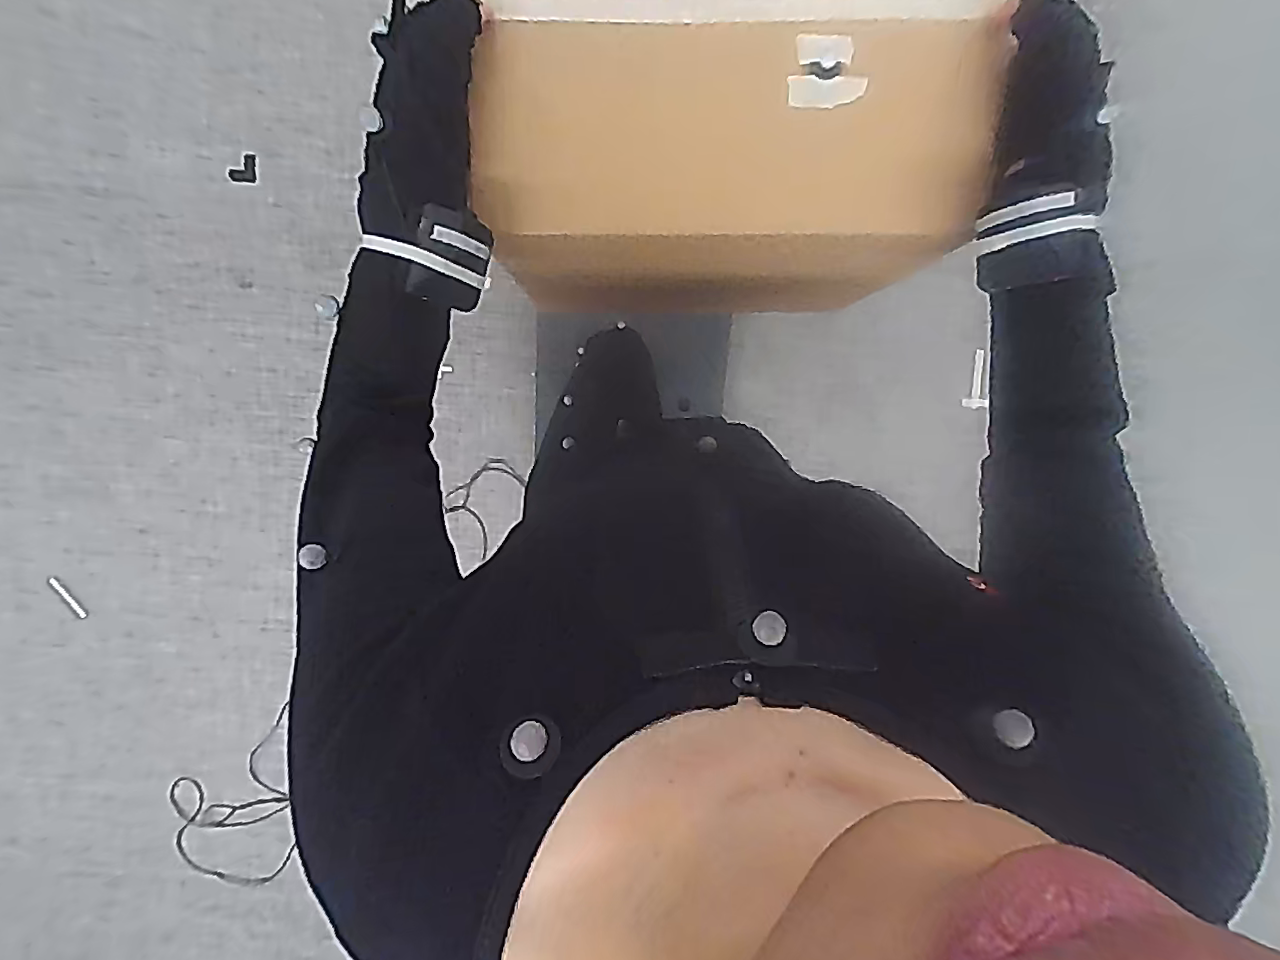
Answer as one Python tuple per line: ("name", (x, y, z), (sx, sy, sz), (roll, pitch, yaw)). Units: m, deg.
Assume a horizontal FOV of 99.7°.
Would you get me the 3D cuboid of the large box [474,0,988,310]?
("large box", (0.066, -0.370, 0.563), (0.408, 0.320, 0.320), (-1, 96, -1))
